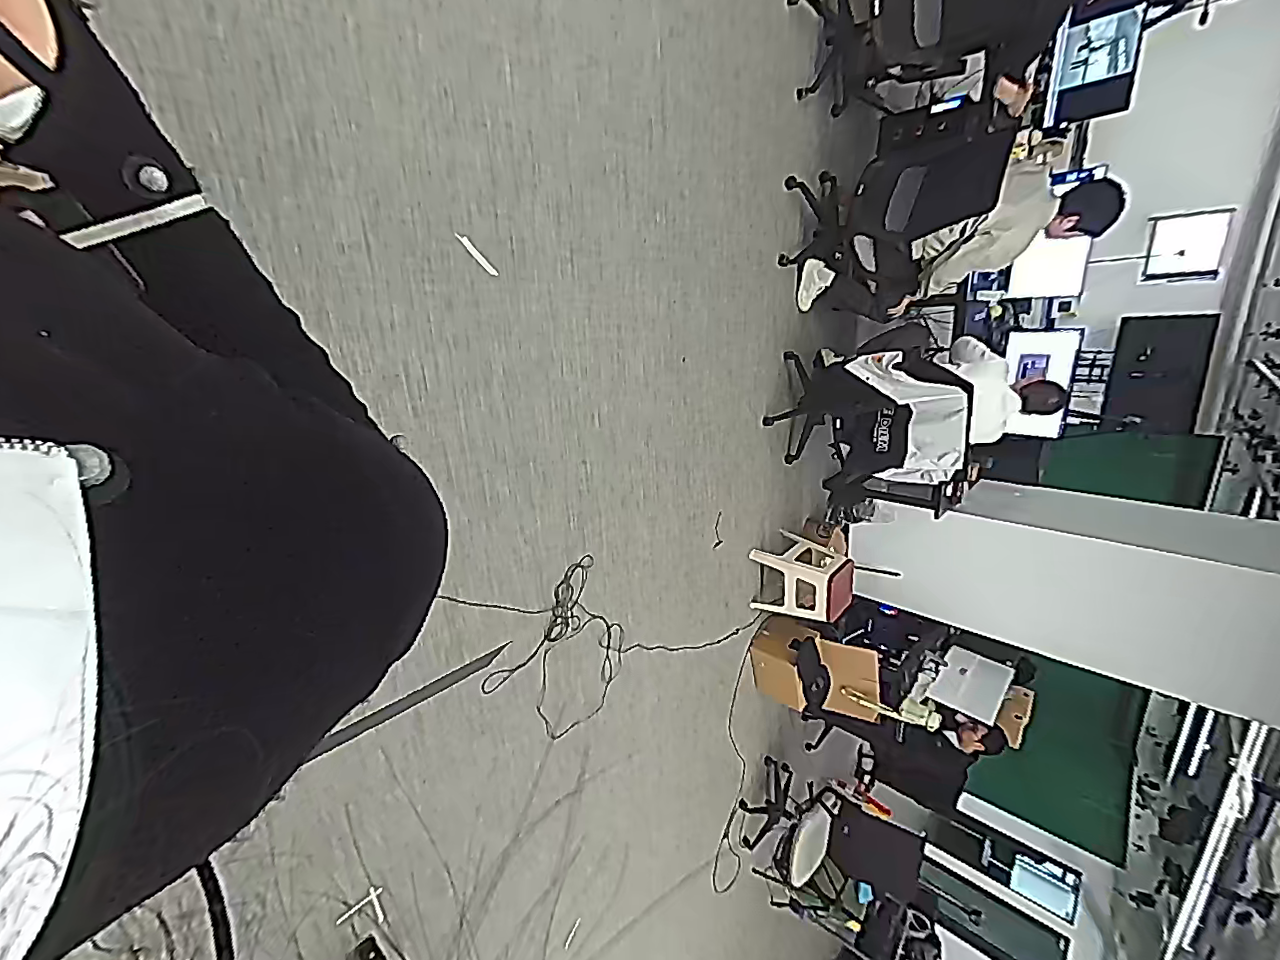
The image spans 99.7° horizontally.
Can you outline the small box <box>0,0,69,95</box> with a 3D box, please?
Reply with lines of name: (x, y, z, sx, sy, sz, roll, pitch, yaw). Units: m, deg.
small box: (-0.613, -0.453, 0.437, 0.168, 0.176, 0.179, -21, 116, -46)
